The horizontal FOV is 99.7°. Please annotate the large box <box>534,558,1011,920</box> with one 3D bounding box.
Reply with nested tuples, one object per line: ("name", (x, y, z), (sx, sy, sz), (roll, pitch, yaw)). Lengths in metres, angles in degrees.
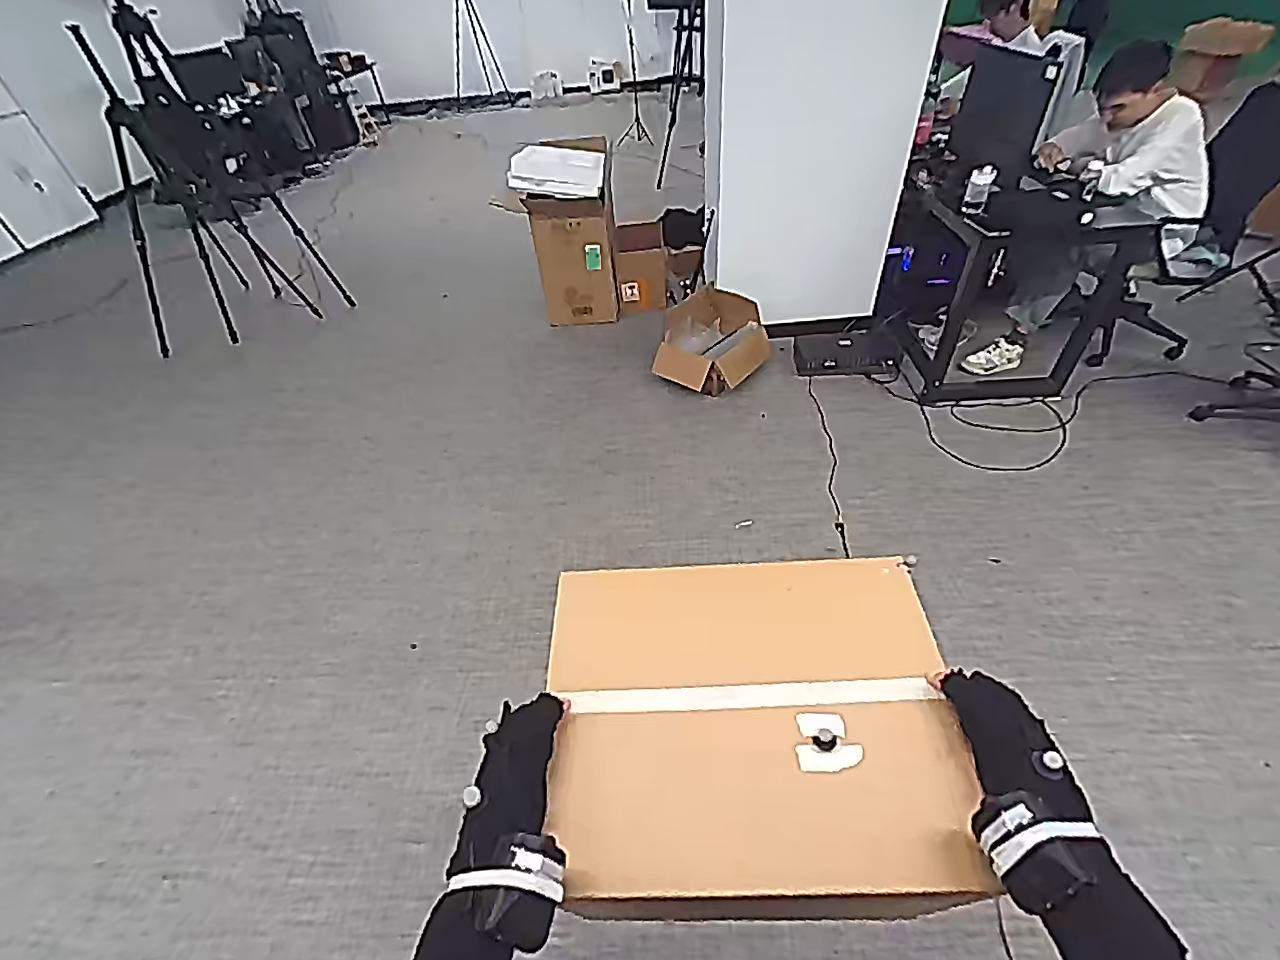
("large box", (0.113, 0.318, 0.654), (0.408, 0.320, 0.320), (-3, 48, 3))
